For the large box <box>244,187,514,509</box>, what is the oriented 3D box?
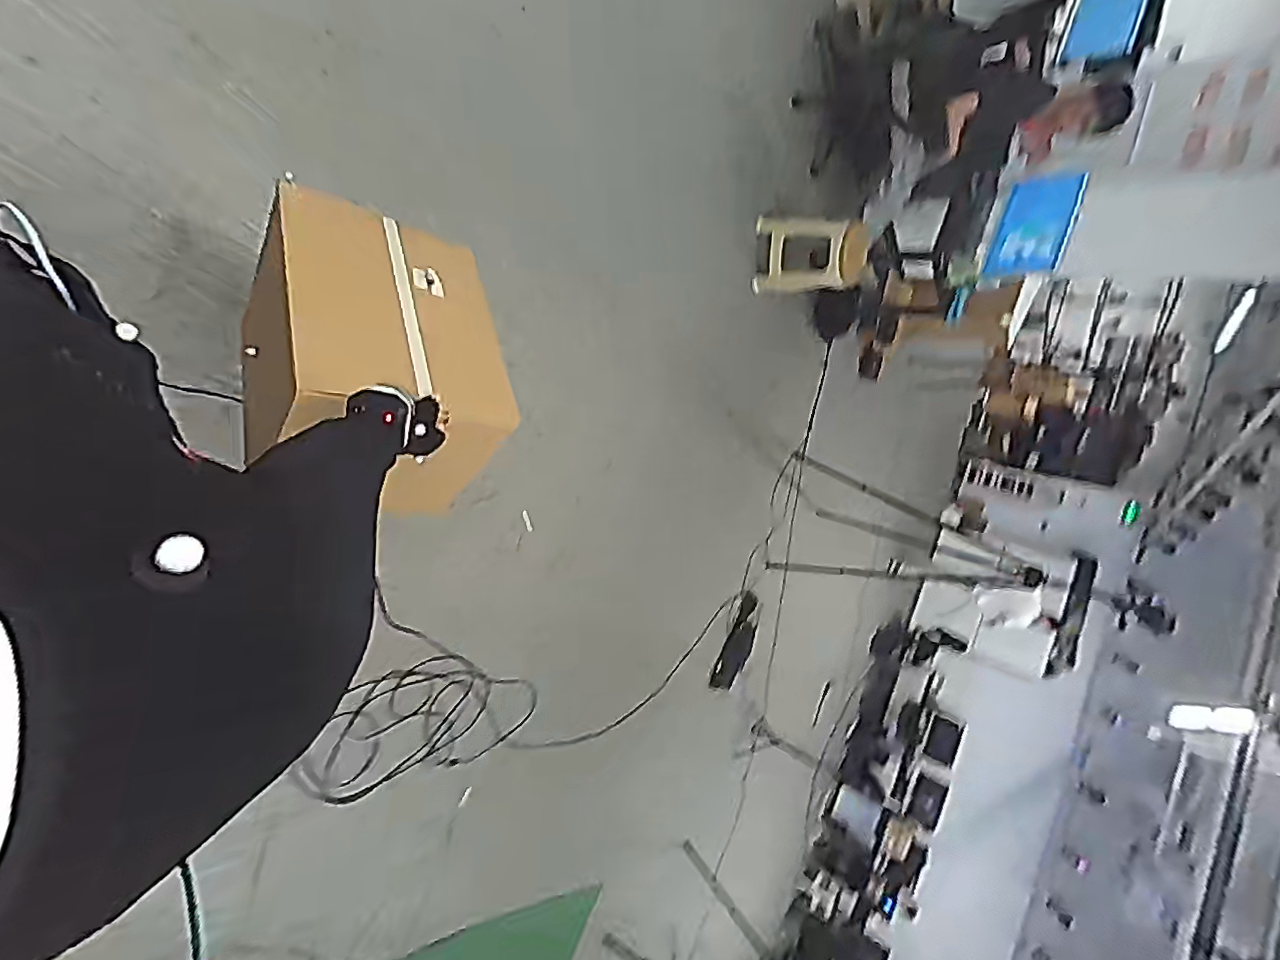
[{"bbox_3d":[-0.469,-0.194,0.937,0.320,0.408,0.320,5,144,-45],"label":"large box"}]
